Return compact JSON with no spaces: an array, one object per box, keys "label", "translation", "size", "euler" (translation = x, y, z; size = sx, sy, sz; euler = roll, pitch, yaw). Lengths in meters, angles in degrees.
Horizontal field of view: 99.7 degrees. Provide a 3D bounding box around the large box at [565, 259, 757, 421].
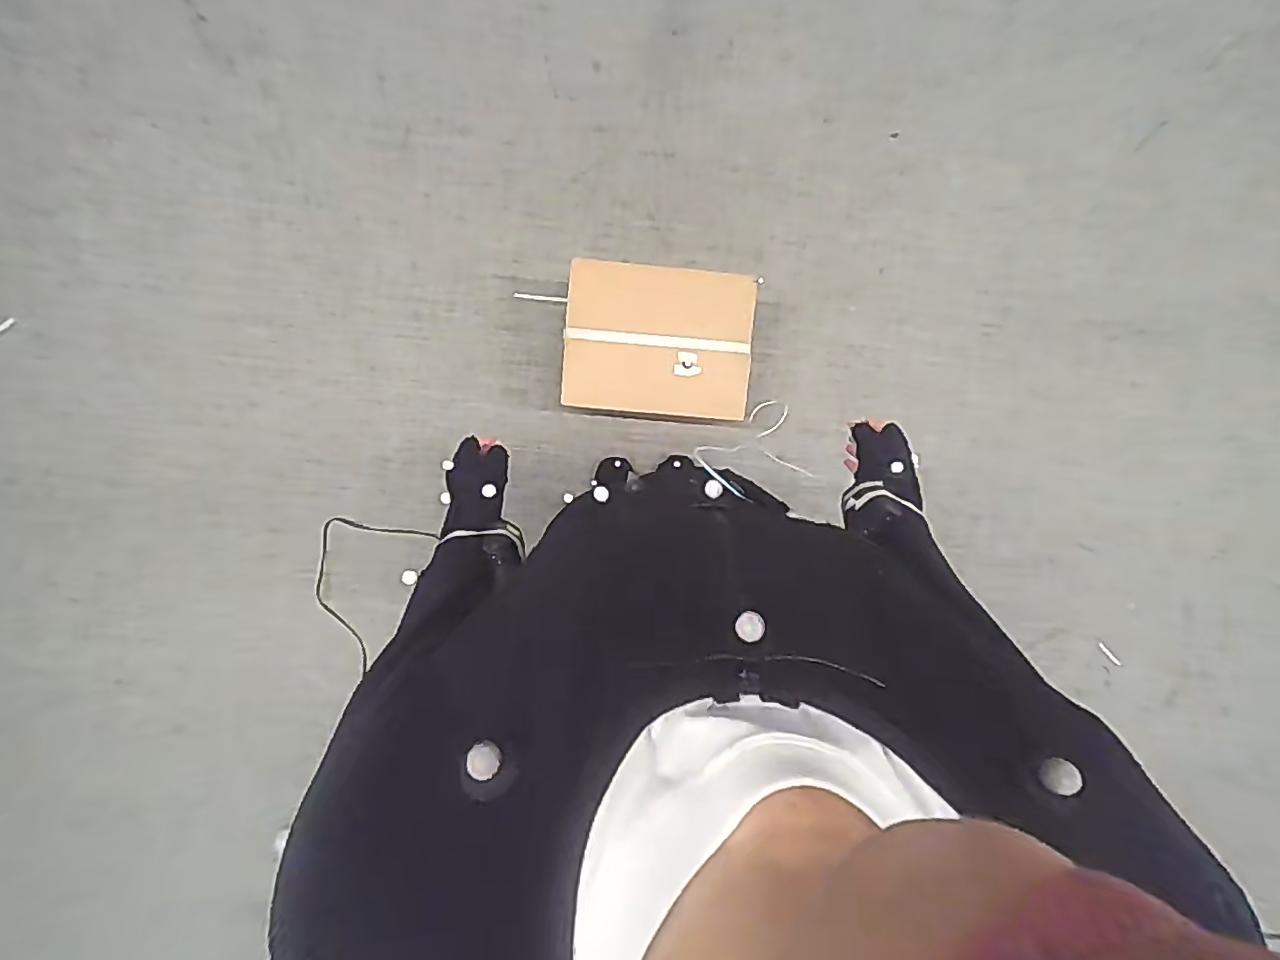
[{"label":"large box","translation":[0.037,-0.314,1.310],"size":[0.408,0.320,0.320],"euler":[5,95,-3]}]
